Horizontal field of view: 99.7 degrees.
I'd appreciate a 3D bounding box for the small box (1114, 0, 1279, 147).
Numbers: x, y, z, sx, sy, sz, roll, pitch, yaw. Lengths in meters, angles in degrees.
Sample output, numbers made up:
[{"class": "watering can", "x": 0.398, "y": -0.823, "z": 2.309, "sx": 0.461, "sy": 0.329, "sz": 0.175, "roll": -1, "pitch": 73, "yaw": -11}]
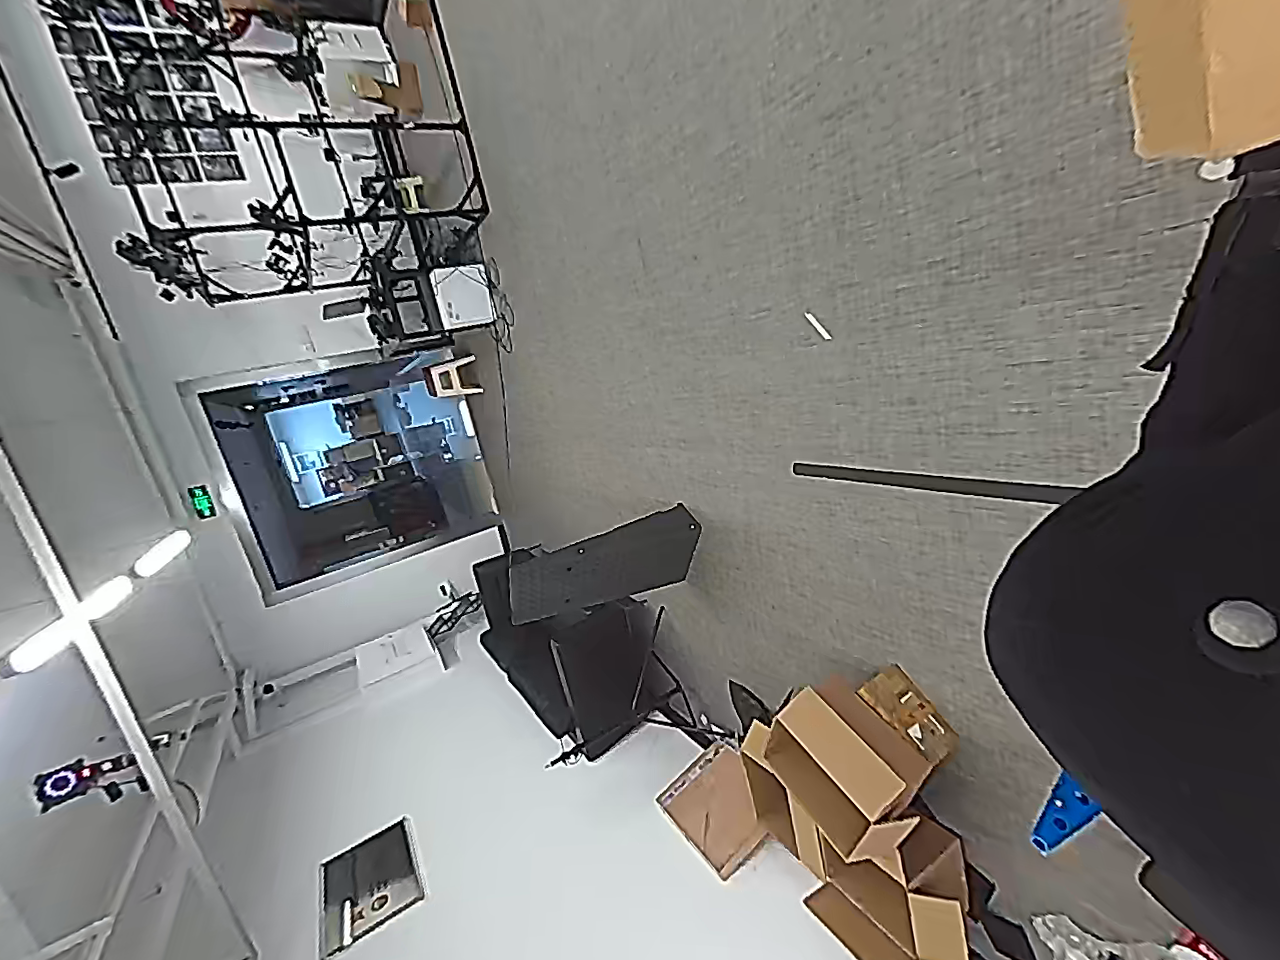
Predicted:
[{"class": "small box", "x": 0.277, "y": -0.241, "z": 0.185, "sx": 0.168, "sy": 0.176, "sz": 0.179, "roll": -9, "pitch": 111, "yaw": 39}]
